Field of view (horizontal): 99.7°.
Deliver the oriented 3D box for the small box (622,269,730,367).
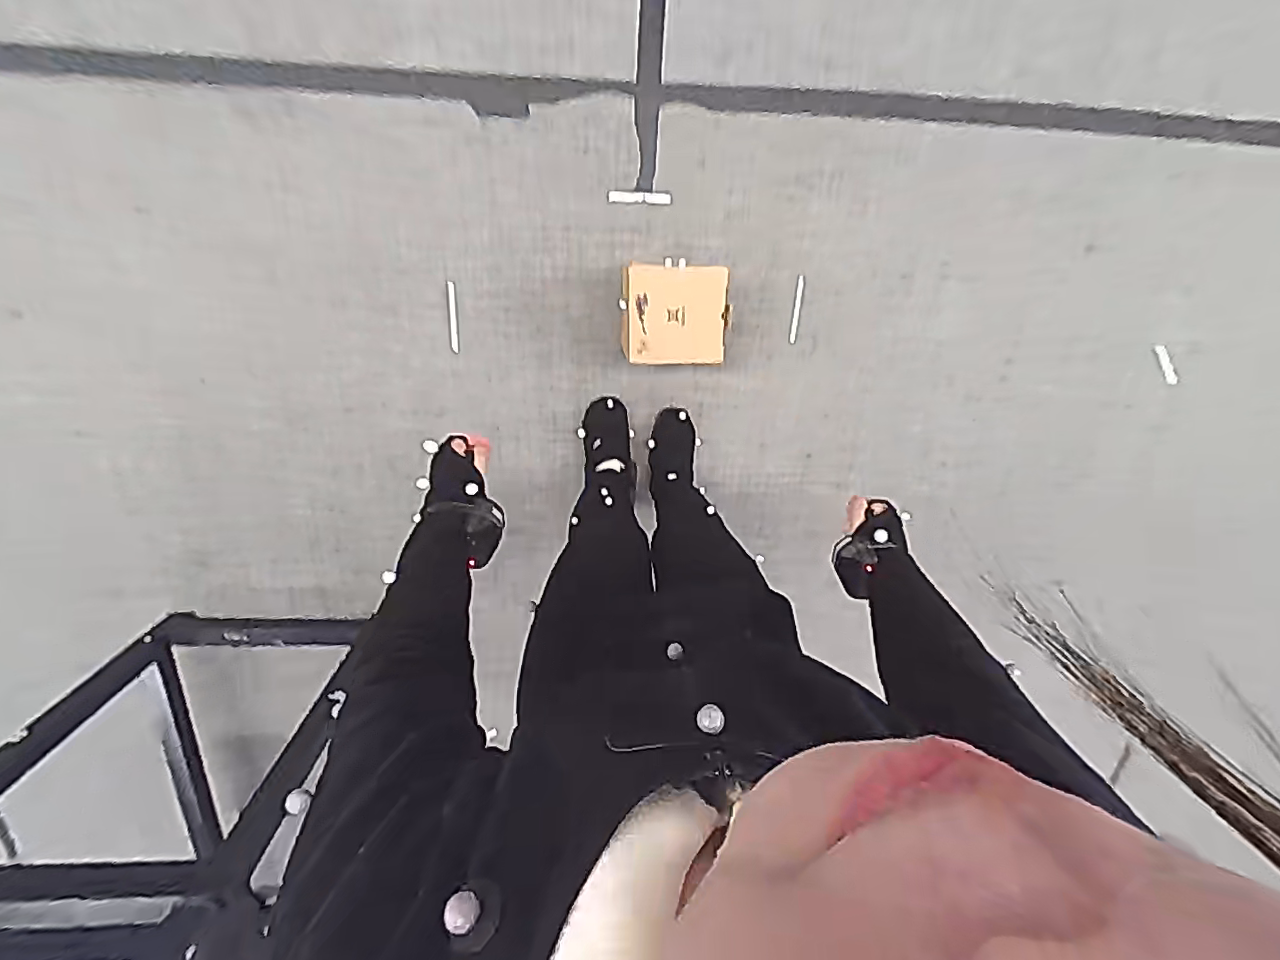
[{"bbox_3d":[0.060,-0.310,1.023,0.179,0.176,0.168,-2,110,-6],"label":"small box"}]
